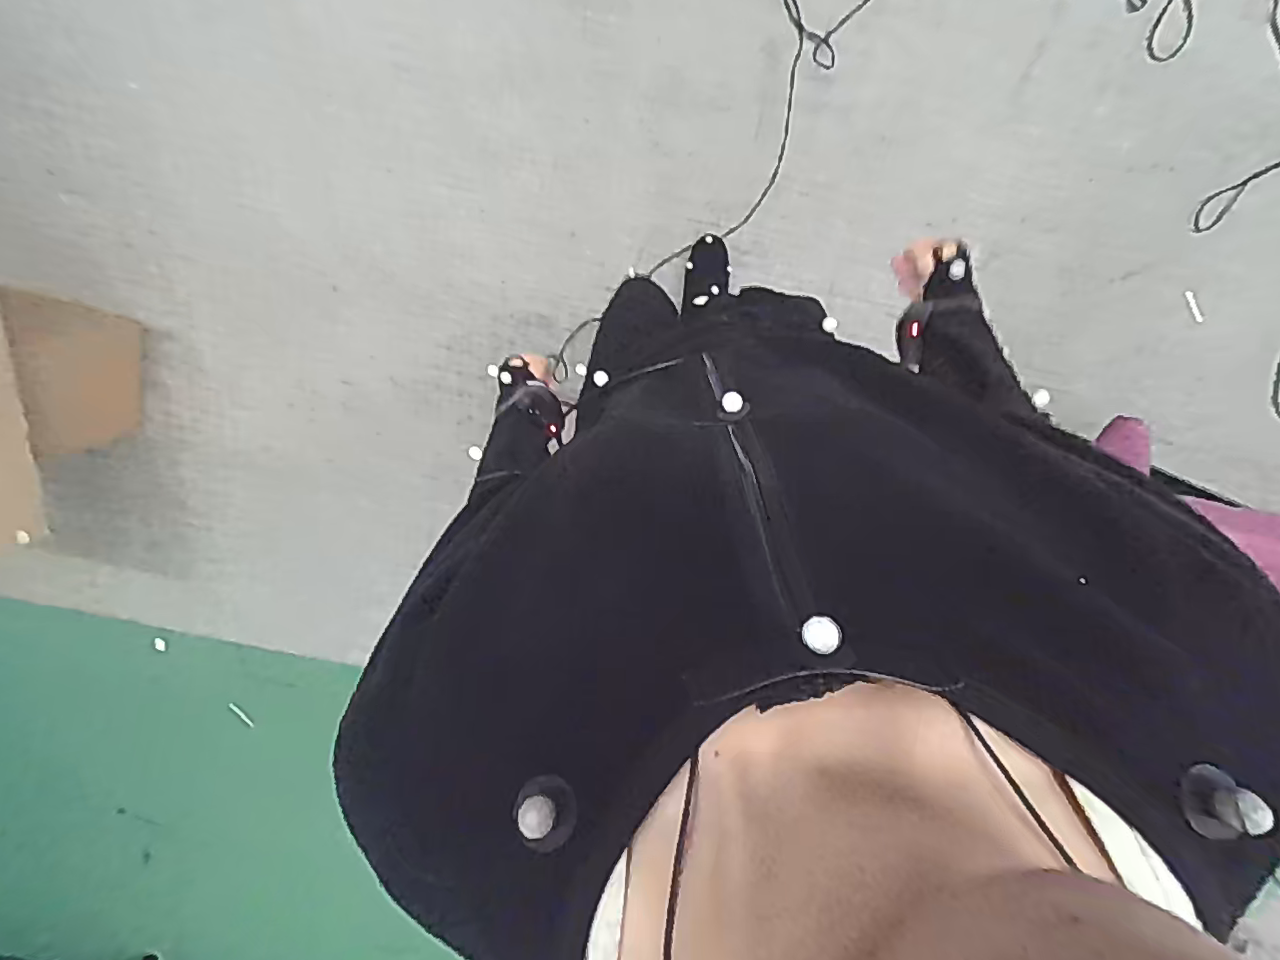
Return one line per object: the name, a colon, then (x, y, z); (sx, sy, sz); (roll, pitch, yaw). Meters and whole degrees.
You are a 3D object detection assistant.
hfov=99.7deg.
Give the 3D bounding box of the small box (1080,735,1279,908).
small box: (0.889, 0.547, 0.881); (0.179, 0.176, 0.168); (10, 112, -1)
